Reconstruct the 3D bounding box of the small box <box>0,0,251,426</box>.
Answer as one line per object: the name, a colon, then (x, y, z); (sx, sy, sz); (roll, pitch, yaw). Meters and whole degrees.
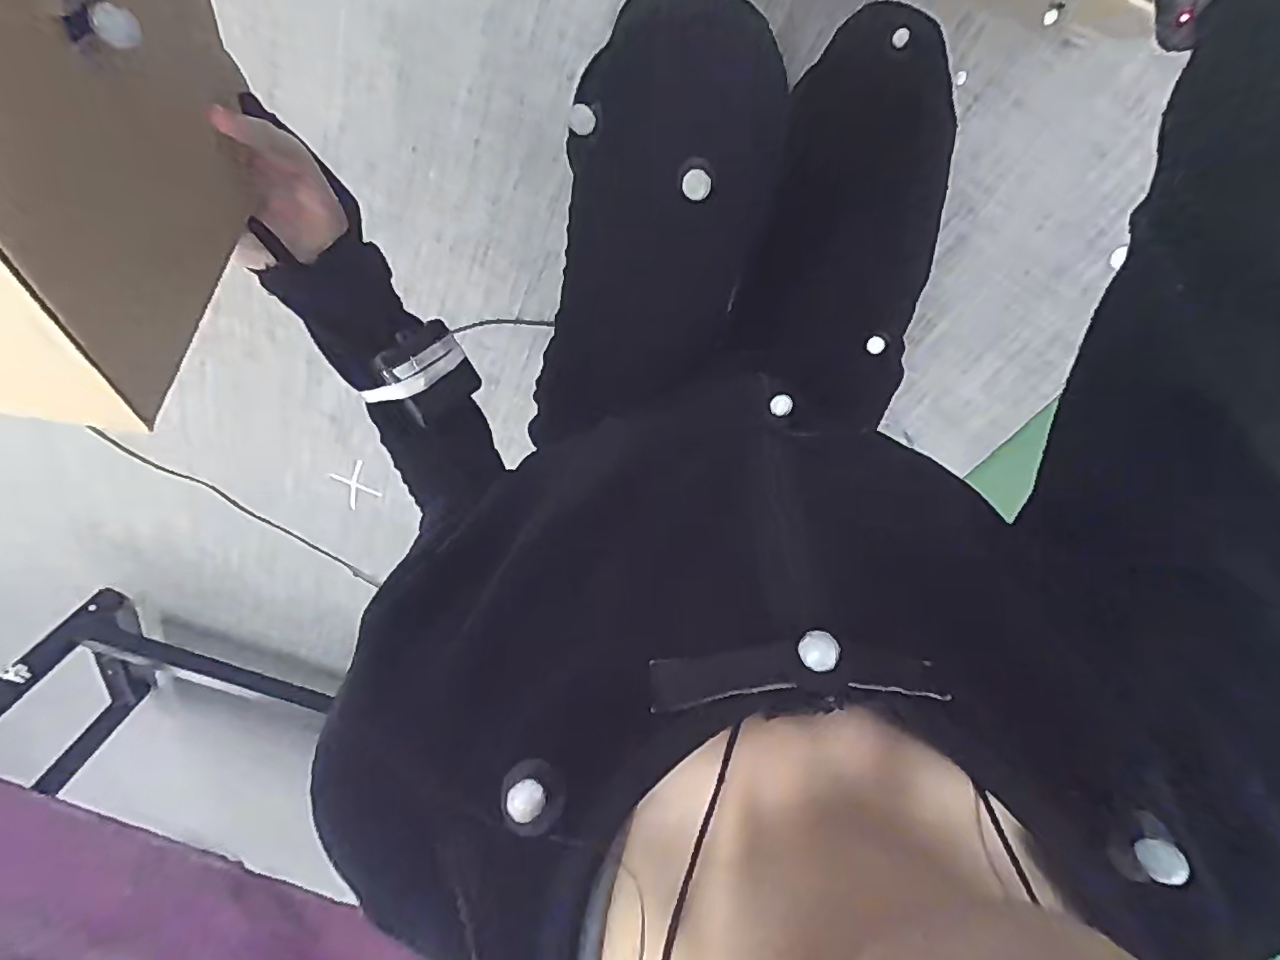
small box: (-0.269, -0.145, 0.185); (0.168, 0.176, 0.179); (9, 152, -19)
